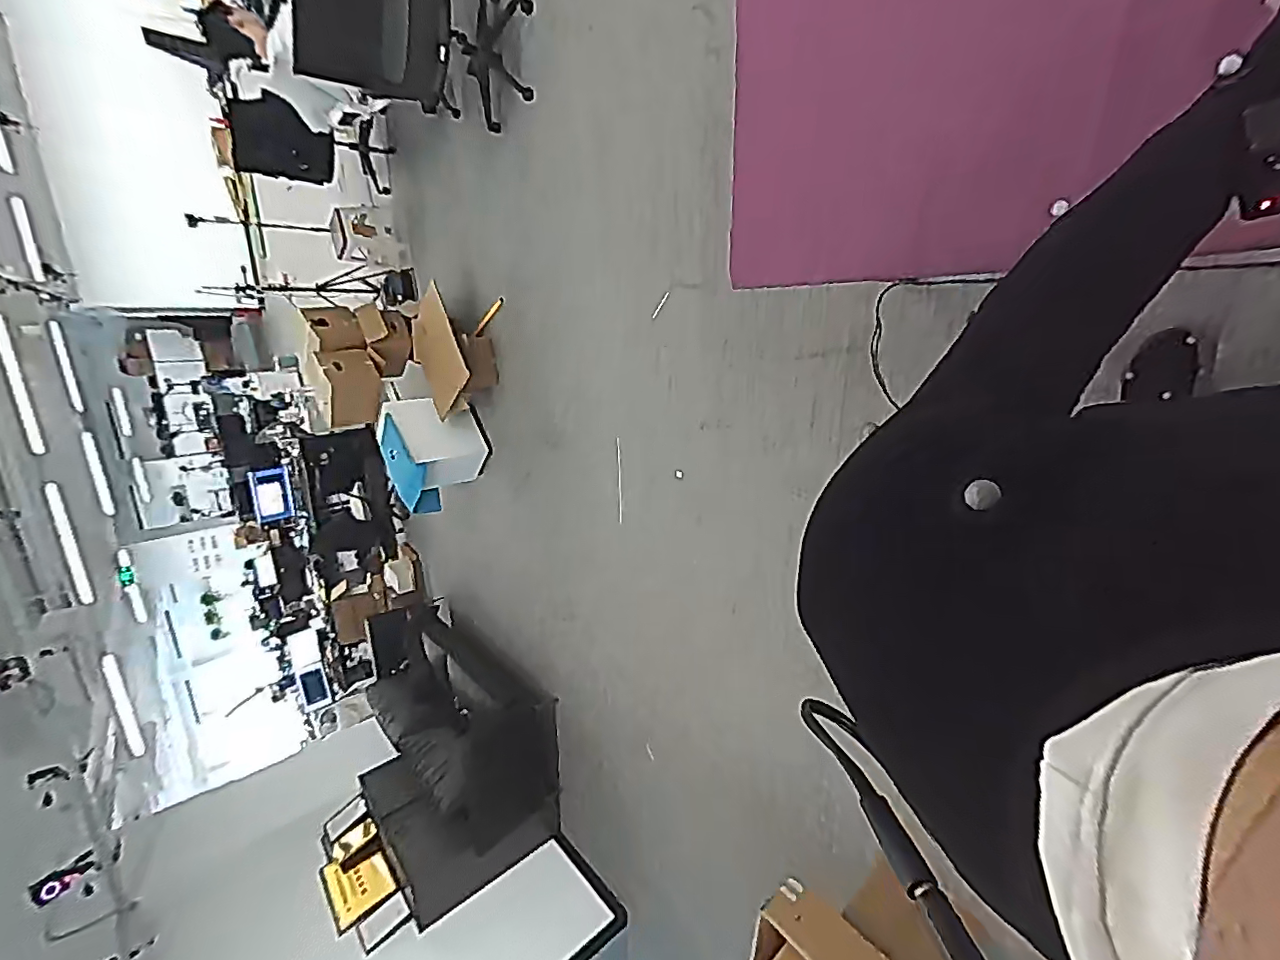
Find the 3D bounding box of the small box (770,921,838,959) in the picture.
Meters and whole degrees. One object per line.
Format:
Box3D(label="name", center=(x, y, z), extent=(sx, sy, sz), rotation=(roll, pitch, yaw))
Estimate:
Box3D(label="small box", center=(0.519, 1.568, 1.716), extent=(0.168, 0.176, 0.179), rotation=(24, 119, 44))
